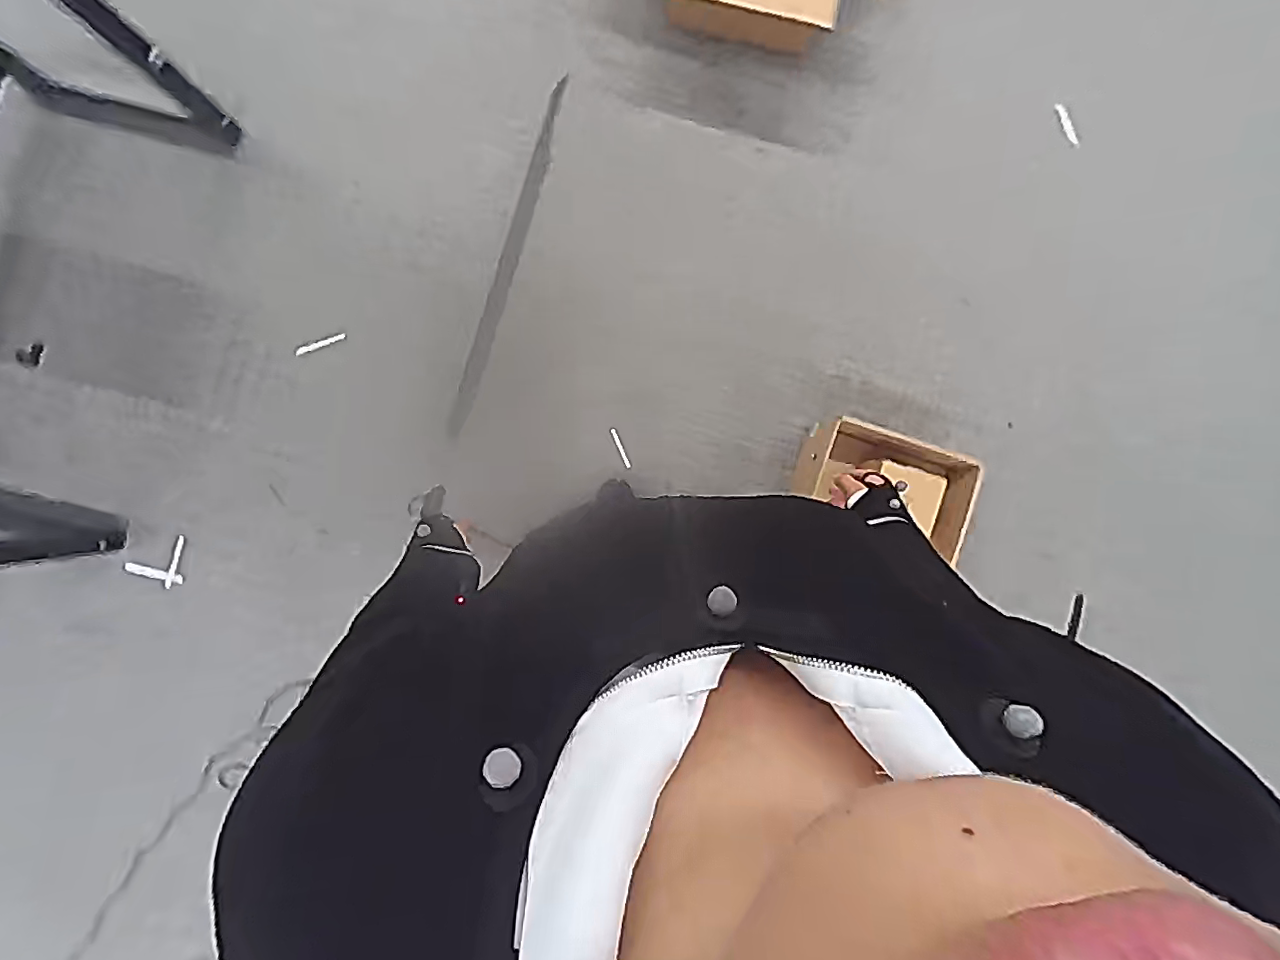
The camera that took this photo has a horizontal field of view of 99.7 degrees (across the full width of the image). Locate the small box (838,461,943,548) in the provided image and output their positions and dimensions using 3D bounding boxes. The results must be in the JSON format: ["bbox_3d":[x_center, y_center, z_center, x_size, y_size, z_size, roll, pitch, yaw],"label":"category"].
[{"bbox_3d":[0.637,0.059,1.397,0.168,0.176,0.179,19,90,0],"label":"small box"}]
